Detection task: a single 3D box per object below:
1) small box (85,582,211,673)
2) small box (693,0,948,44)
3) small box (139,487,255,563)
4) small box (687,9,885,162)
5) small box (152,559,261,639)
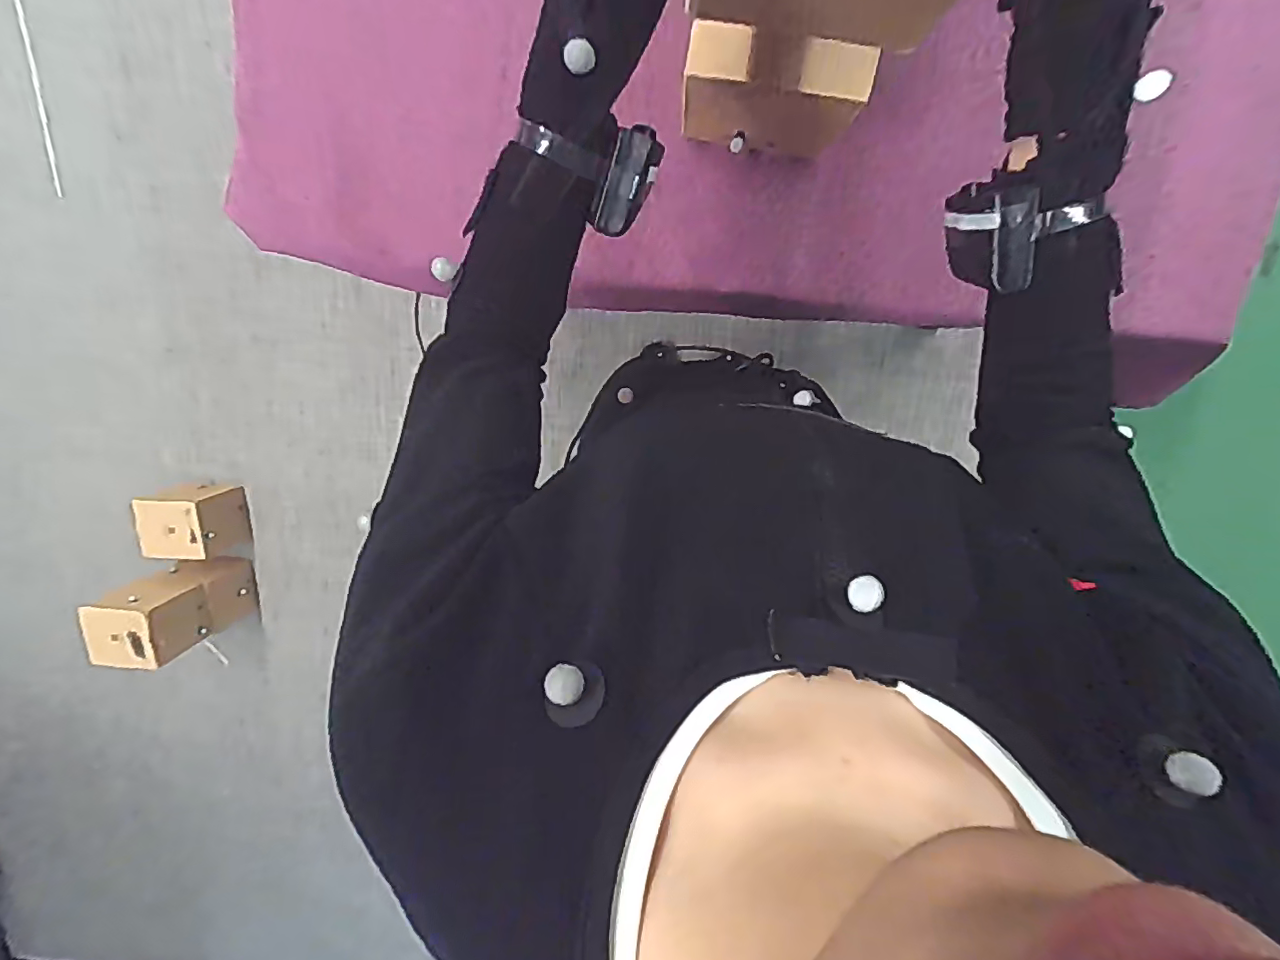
[{"bbox_3d":[-1.265,0.378,1.410,0.179,0.176,0.168,4,105,3],"label":"small box"},{"bbox_3d":[0.126,-0.381,0.295,0.179,0.176,0.168,7,105,-1],"label":"small box"},{"bbox_3d":[-1.225,0.120,1.508,0.179,0.176,0.168,2,106,3],"label":"small box"},{"bbox_3d":[0.140,-0.443,0.529,0.168,0.176,0.179,10,106,1],"label":"small box"},{"bbox_3d":[-1.249,0.338,1.568,0.179,0.176,0.168,5,106,2],"label":"small box"}]
